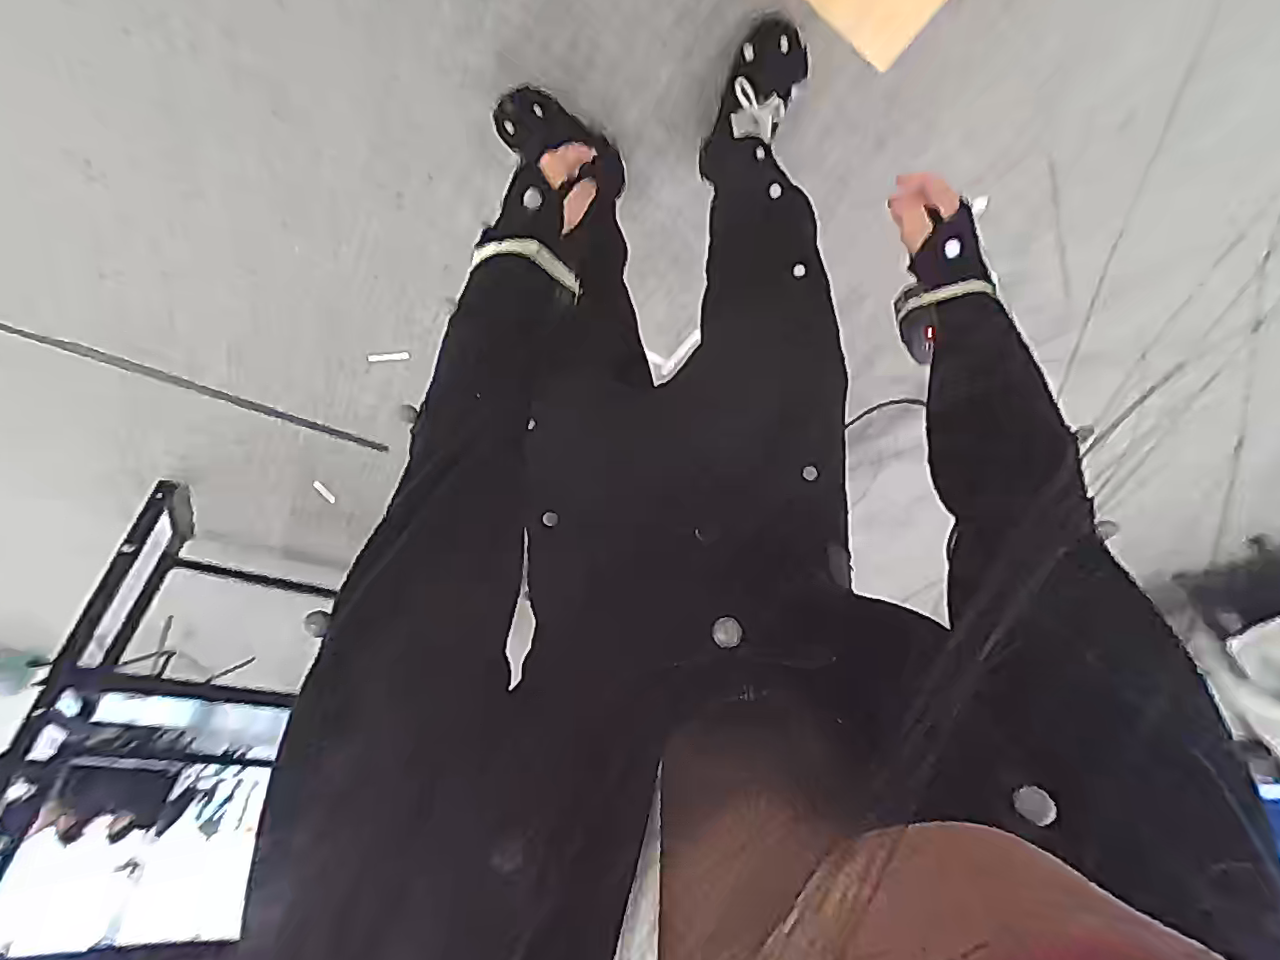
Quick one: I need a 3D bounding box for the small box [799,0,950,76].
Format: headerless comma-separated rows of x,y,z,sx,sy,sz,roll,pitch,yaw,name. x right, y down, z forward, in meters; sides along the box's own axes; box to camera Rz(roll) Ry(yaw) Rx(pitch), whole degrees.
0.274,-0.619,0.606,0.168,0.176,0.179,20,141,-25,small box
